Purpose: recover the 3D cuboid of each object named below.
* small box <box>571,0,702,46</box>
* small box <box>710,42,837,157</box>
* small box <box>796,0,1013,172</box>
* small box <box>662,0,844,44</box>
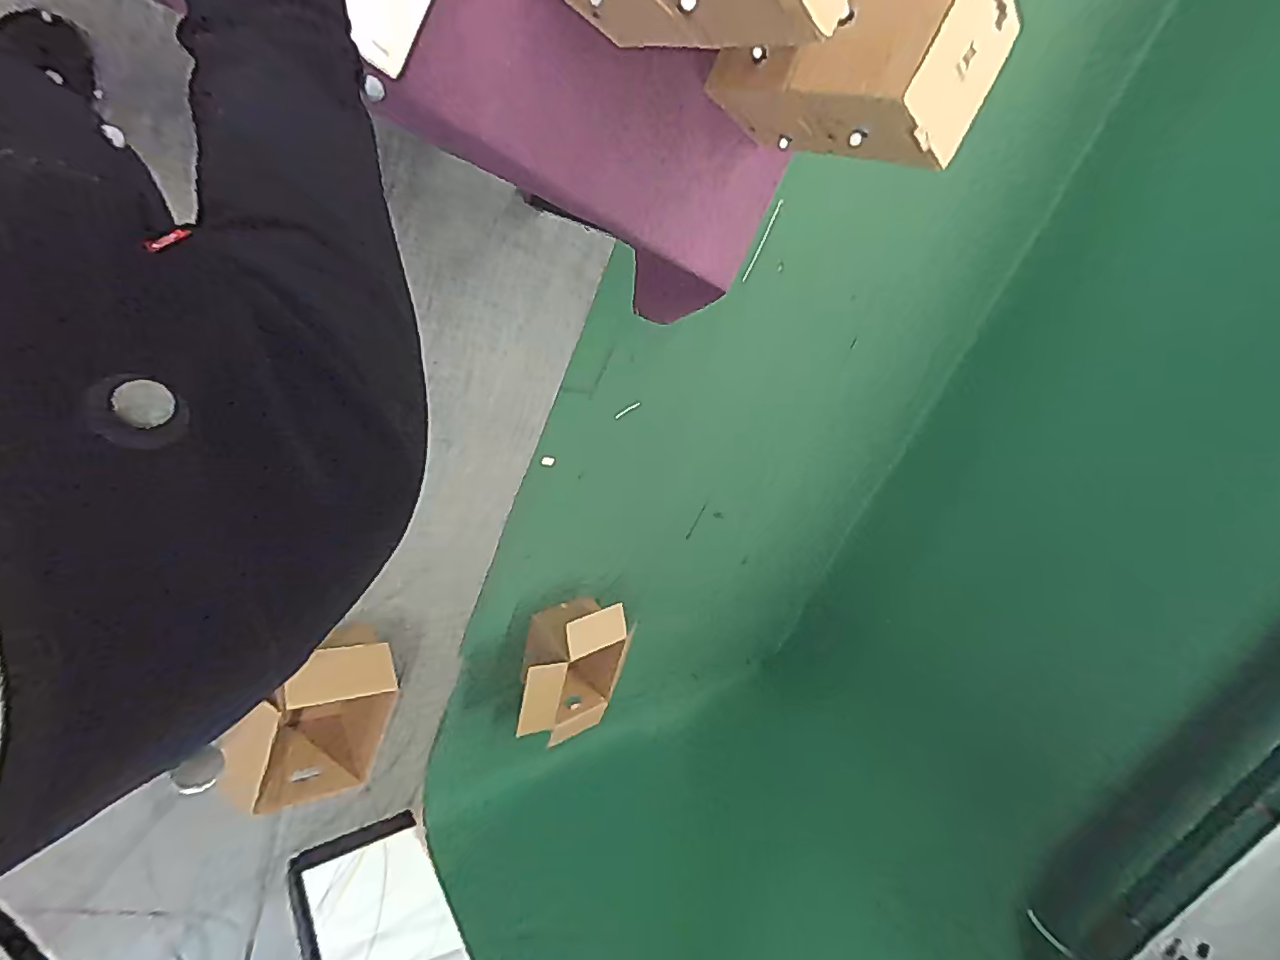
[{"bbox_3d":[-0.005,-0.604,0.573,0.168,0.176,0.179,4,116,-46],"label":"small box"},{"bbox_3d":[0.229,-0.614,0.793,0.168,0.176,0.179,8,114,-48],"label":"small box"},{"bbox_3d":[0.325,-0.532,0.688,0.168,0.176,0.179,7,116,-48],"label":"small box"},{"bbox_3d":[0.101,-0.527,0.471,0.168,0.176,0.179,8,113,-47],"label":"small box"}]
